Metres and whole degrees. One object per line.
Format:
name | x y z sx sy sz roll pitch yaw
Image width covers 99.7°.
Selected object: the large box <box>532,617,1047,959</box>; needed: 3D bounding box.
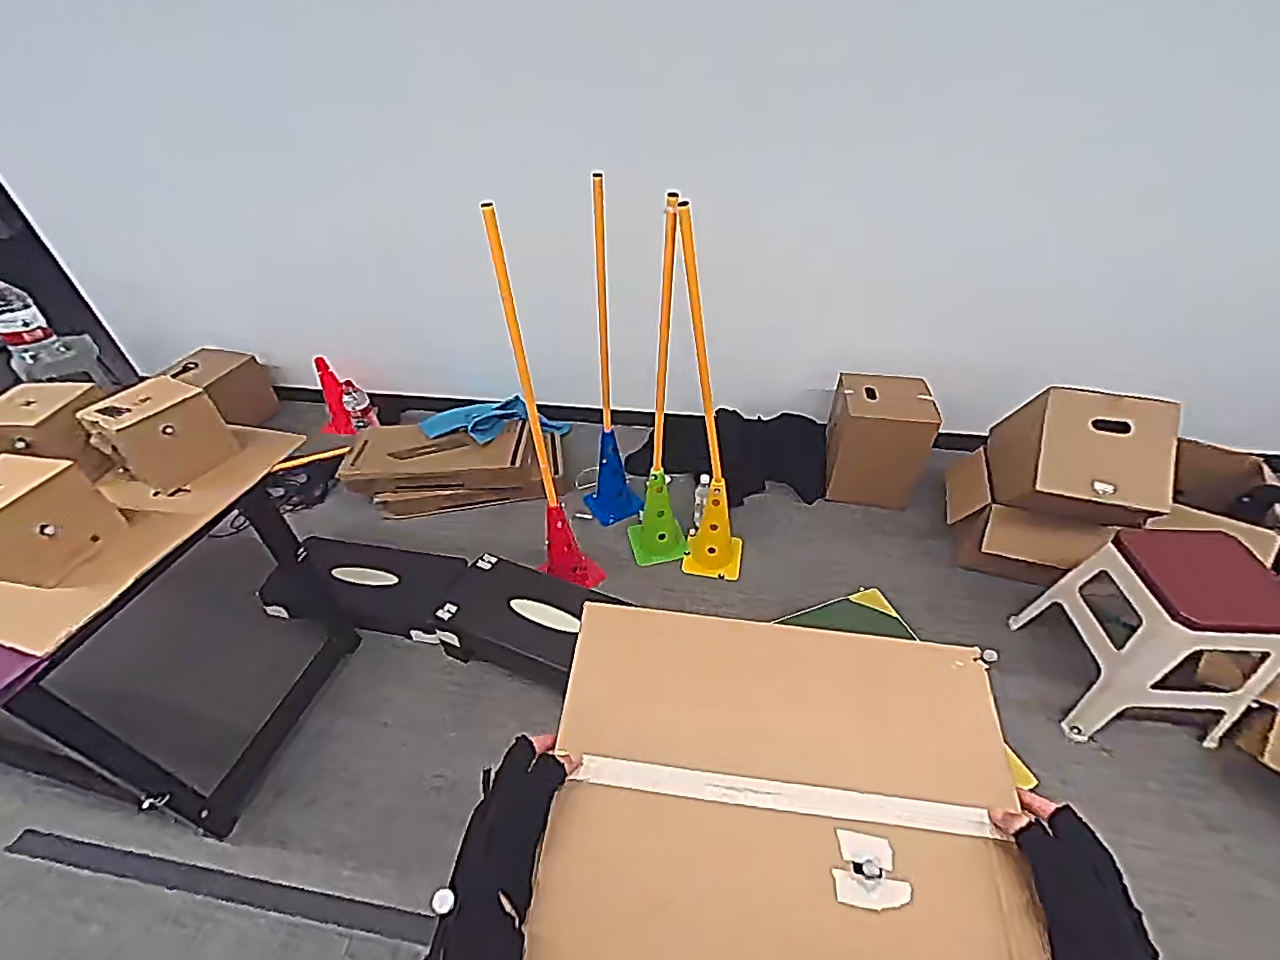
large box | 0.124 0.375 0.597 0.408 0.320 0.320 6 54 4
